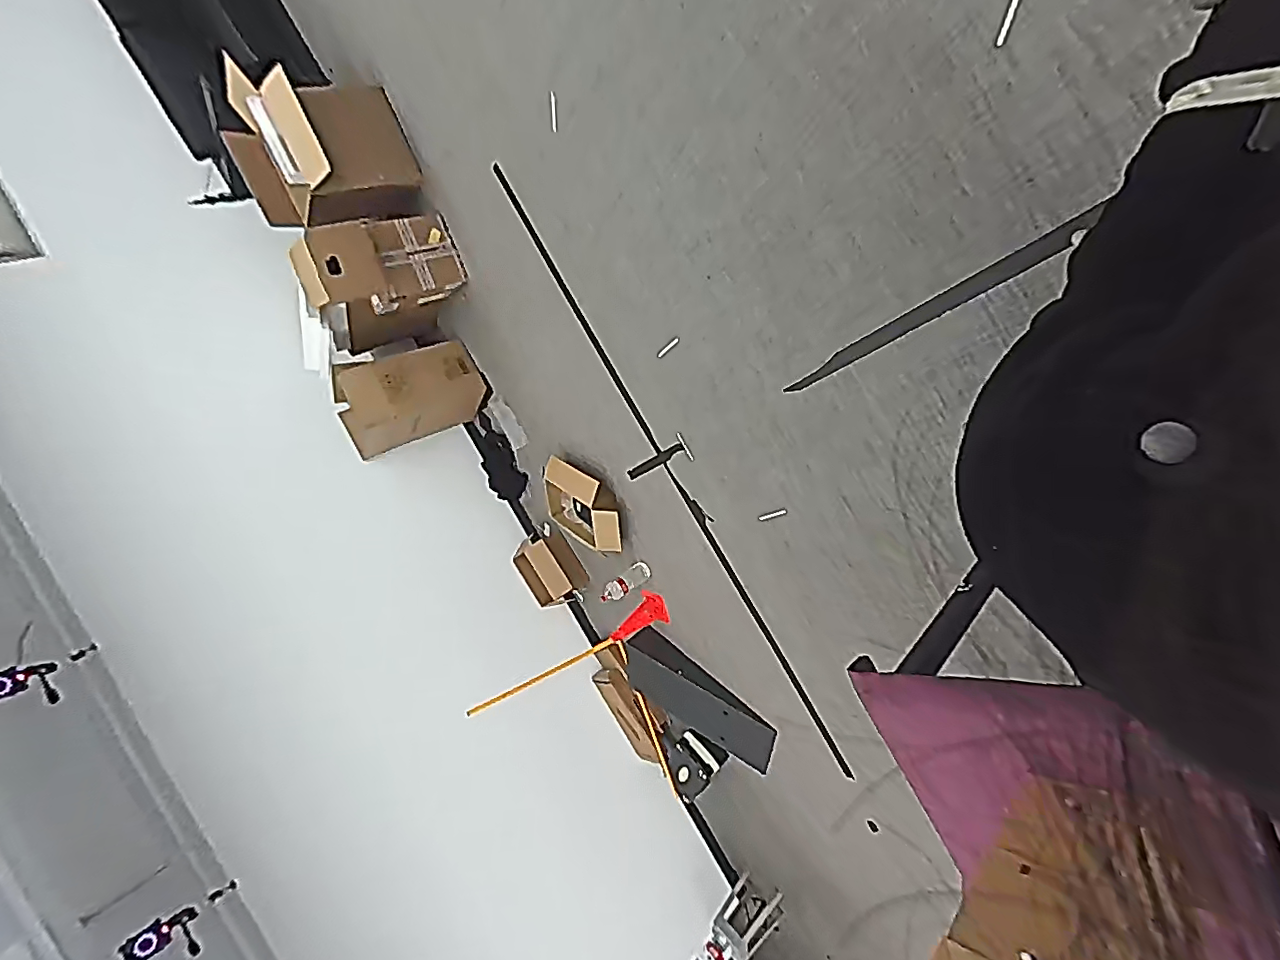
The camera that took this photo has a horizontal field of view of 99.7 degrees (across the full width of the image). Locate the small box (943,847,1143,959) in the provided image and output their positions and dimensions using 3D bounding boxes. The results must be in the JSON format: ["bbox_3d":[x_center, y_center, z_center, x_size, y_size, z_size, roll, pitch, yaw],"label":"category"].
[{"bbox_3d":[0.559,0.660,0.736,0.168,0.176,0.179,-19,100,56],"label":"small box"}]

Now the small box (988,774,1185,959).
[{"bbox_3d":[0.681,0.596,0.824,0.168,0.176,0.179,-23,95,57],"label":"small box"}]
